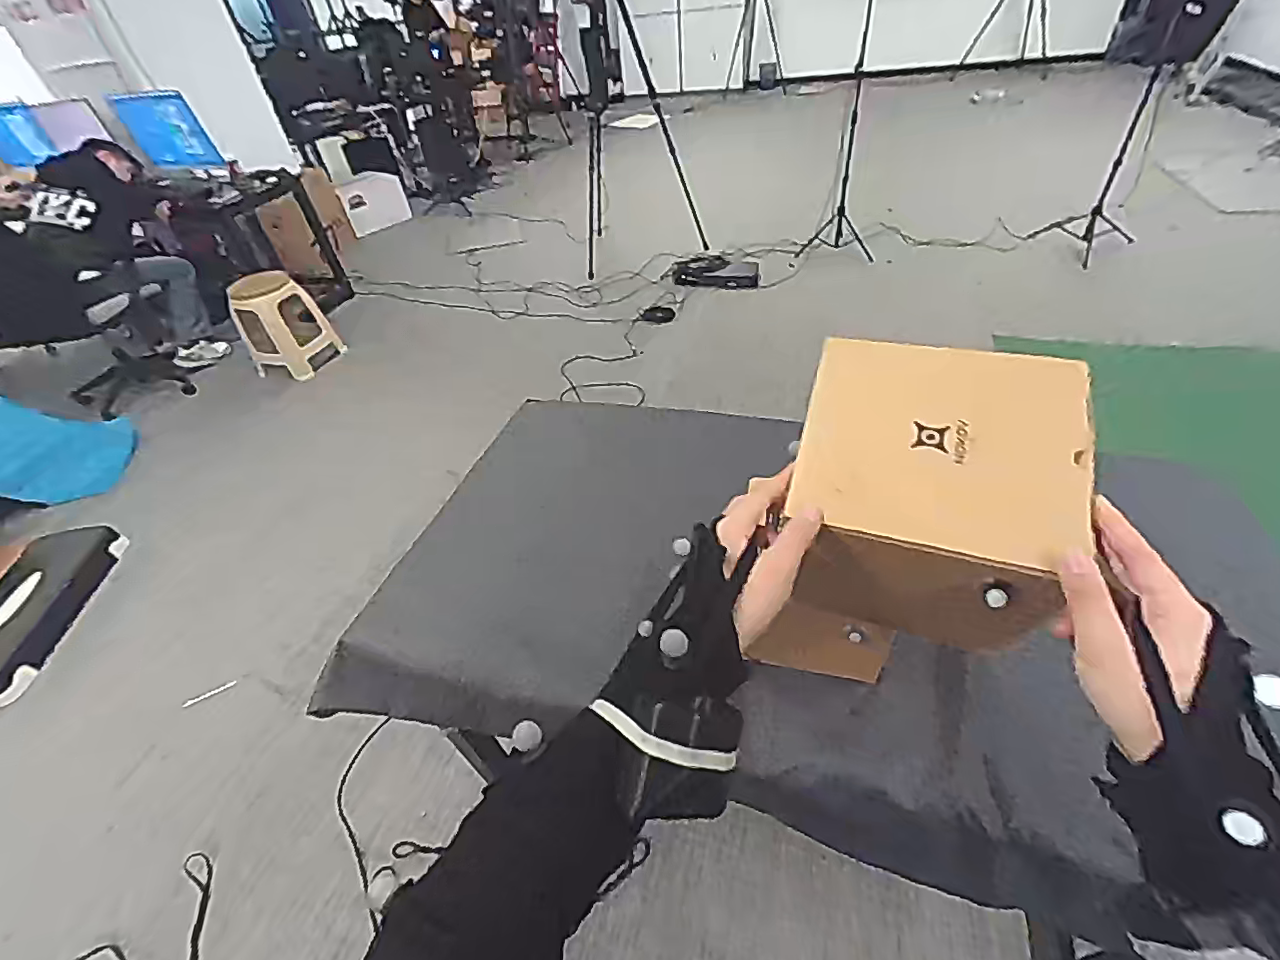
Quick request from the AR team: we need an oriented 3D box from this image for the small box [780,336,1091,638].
[{"bbox_3d":[0.215,0.010,0.433,0.179,0.176,0.168,12,62,19],"label":"small box"}]
